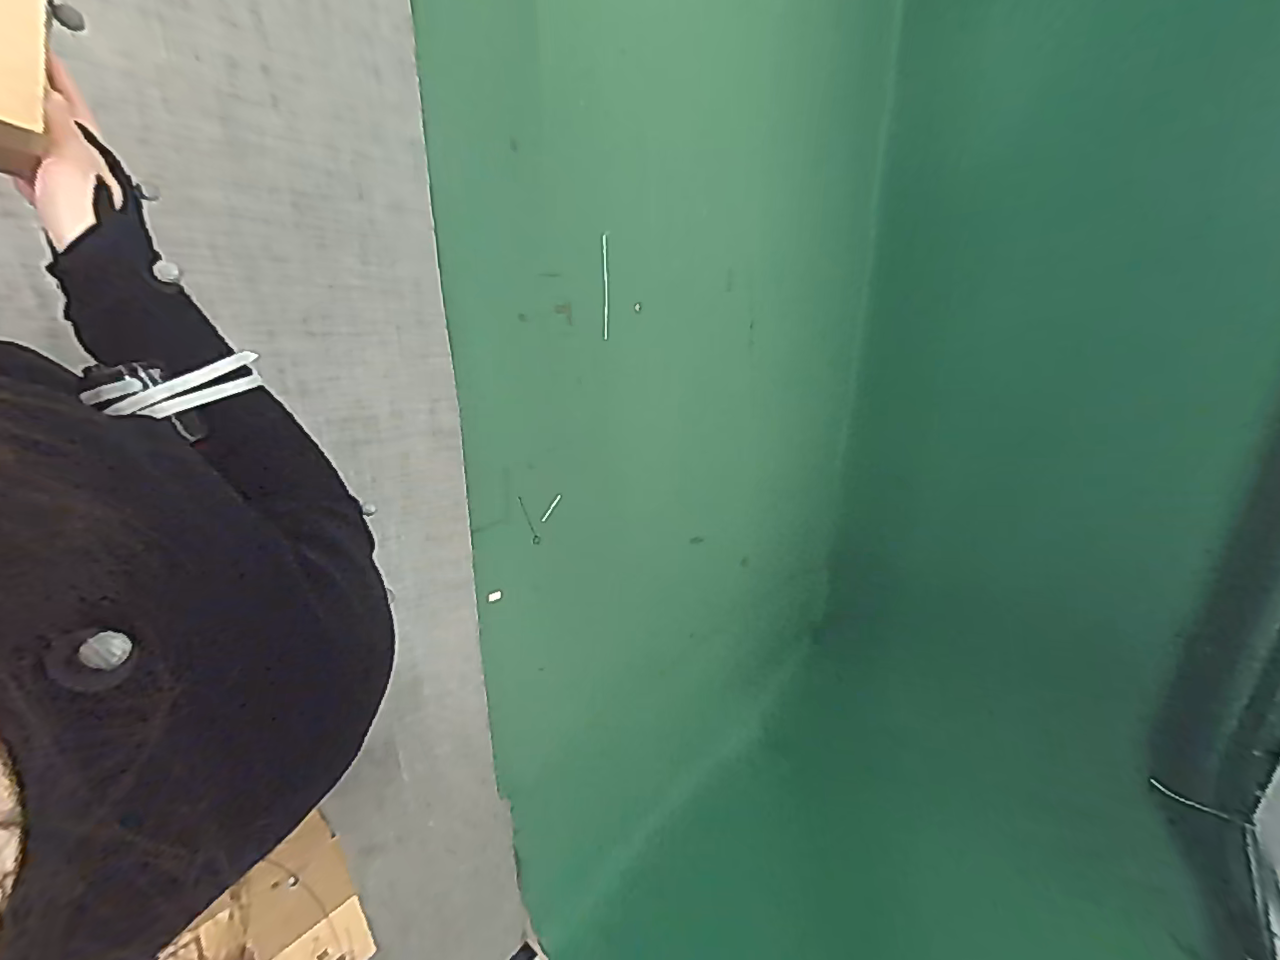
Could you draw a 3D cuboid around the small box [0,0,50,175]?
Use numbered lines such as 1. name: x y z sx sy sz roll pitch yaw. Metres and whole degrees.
1. small box: -0.424 -0.285 0.274 0.168 0.176 0.179 2 101 -50
